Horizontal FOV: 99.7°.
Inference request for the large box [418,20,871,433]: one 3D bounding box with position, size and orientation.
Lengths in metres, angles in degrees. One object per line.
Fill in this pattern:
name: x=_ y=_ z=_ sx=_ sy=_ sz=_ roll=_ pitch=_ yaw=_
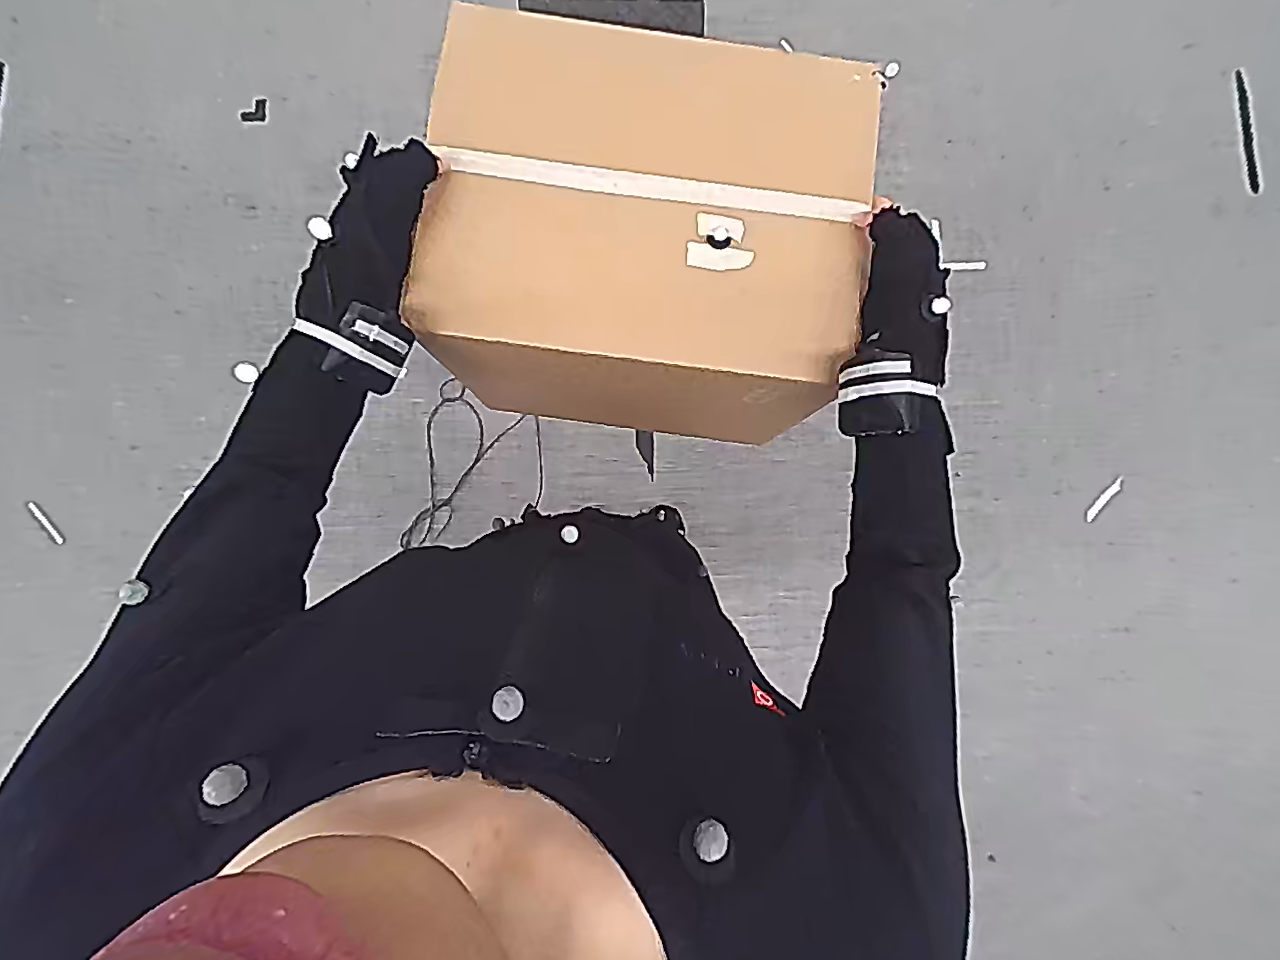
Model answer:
large box: x=0.006 y=-0.253 z=0.649 sx=0.408 sy=0.320 sz=0.320 roll=7 pitch=84 yaw=-1
